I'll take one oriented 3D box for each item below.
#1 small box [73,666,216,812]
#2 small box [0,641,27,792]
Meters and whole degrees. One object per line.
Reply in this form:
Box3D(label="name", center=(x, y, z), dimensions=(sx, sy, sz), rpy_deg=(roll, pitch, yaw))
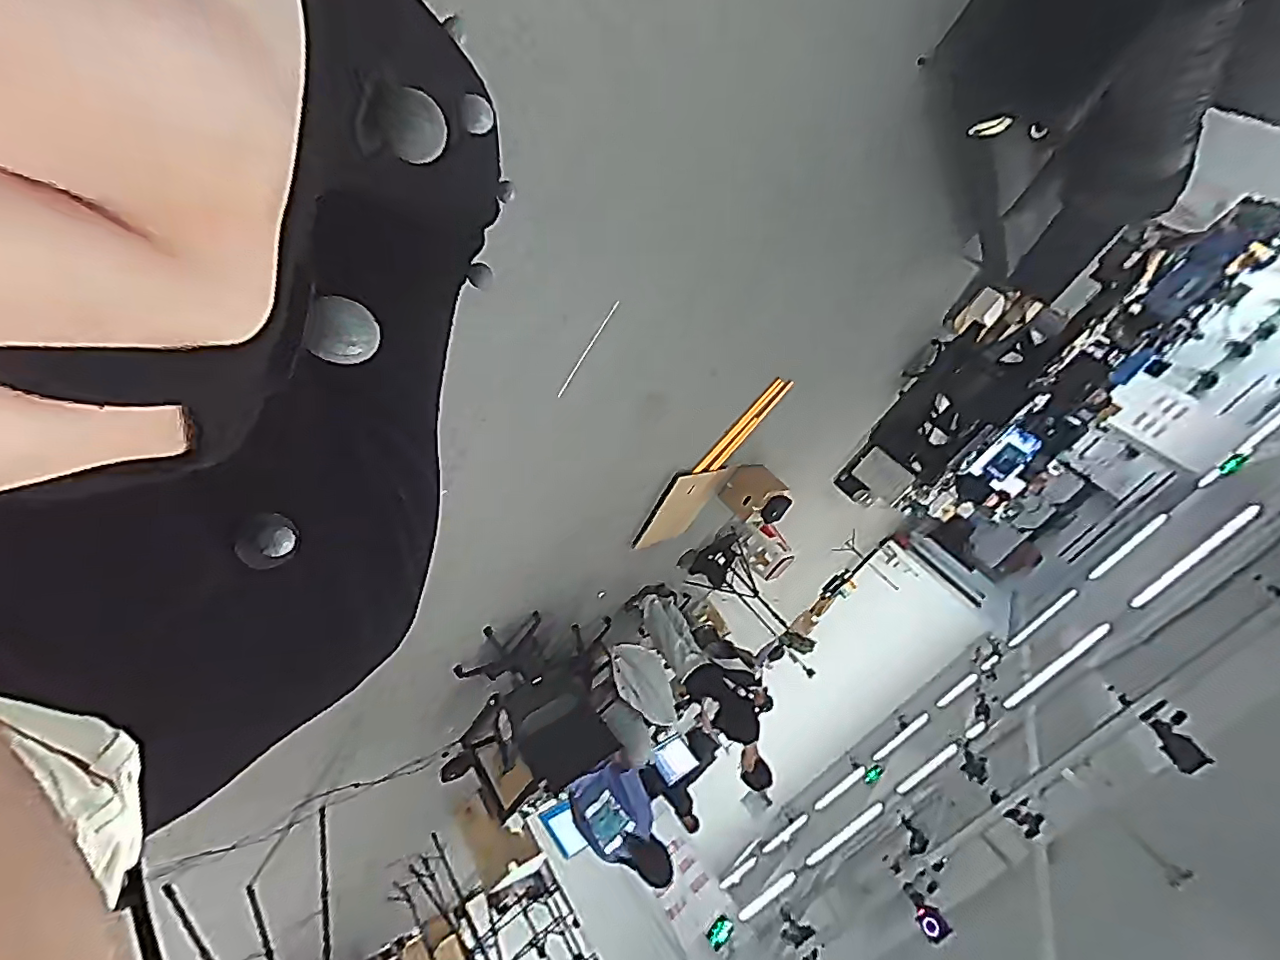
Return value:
Box3D(label="small box", center=(-0.985, 0.502, 1.072), dimensions=(0.179, 0.176, 0.168), rpy_deg=(-53, 152, 19))
Box3D(label="small box", center=(-1.051, 0.370, 0.803), dimensions=(0.168, 0.176, 0.179), rpy_deg=(4, 128, -55))
